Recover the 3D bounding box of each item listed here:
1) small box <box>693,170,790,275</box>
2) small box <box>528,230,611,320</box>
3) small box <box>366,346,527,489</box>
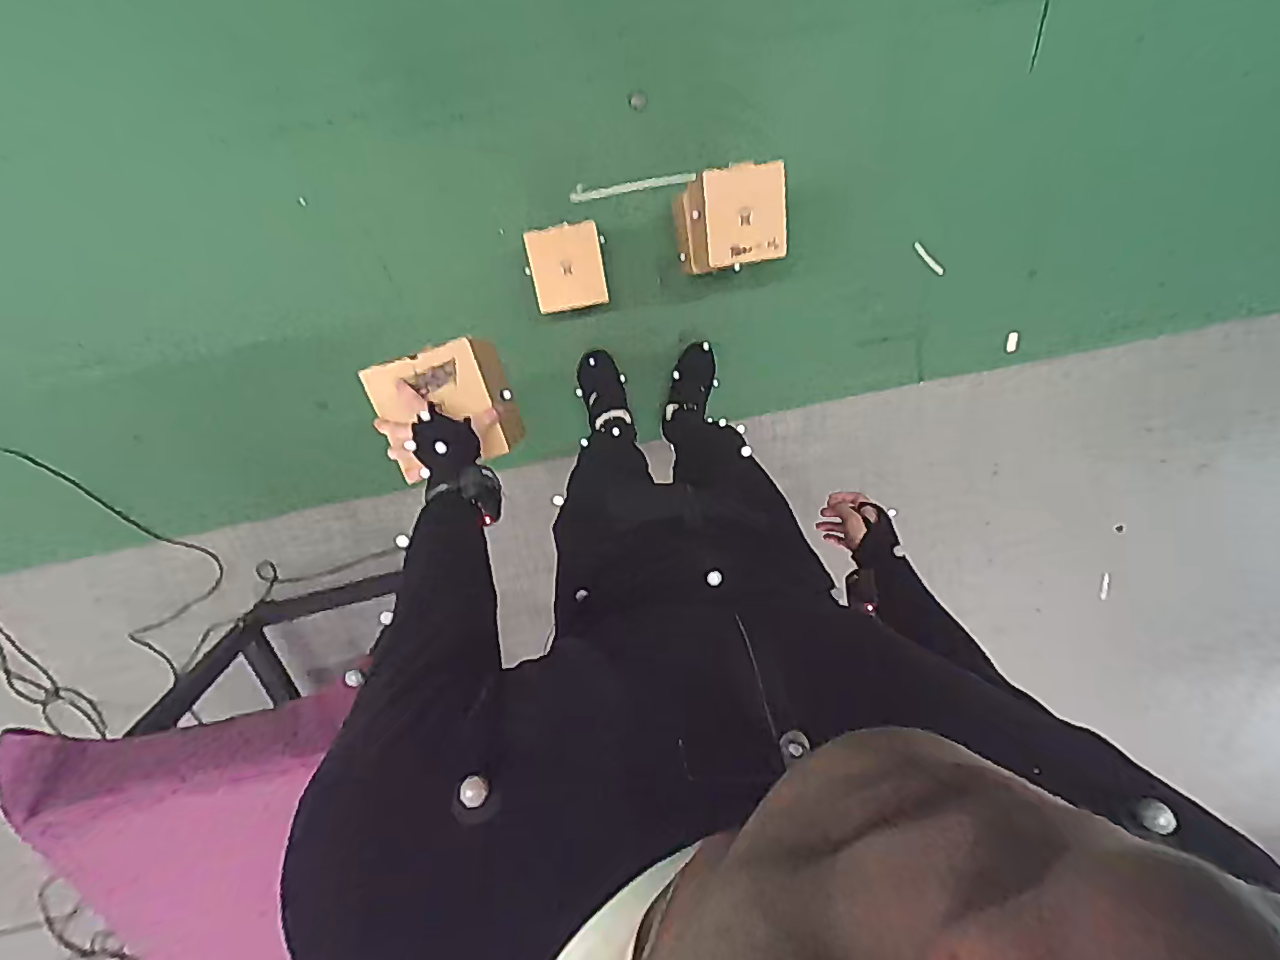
[{"bbox_3d":[0.212,-0.543,1.157,0.168,0.176,0.179,-8,111,-2],"label":"small box"},{"bbox_3d":[-0.164,-0.498,1.318,0.168,0.176,0.179,-10,110,-1],"label":"small box"},{"bbox_3d":[-0.293,-0.105,0.860,0.168,0.176,0.179,-16,104,2],"label":"small box"}]
